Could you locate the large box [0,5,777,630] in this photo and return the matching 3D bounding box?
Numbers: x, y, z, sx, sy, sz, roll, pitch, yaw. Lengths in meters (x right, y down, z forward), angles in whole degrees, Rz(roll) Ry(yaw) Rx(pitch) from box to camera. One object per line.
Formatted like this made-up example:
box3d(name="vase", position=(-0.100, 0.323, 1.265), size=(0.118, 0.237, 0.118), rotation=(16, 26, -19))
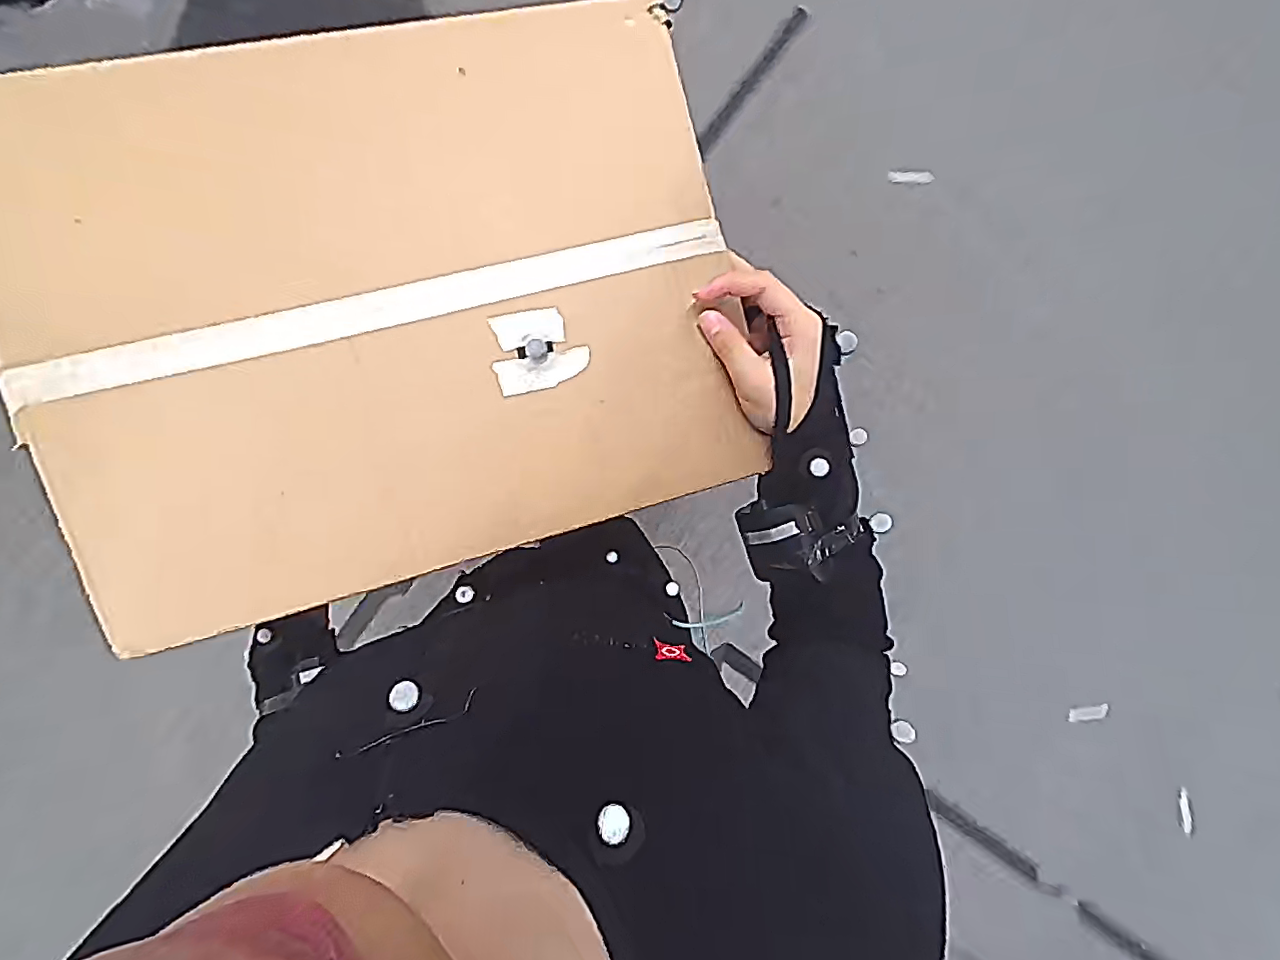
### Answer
box3d(name="large box", position=(-0.158, -0.115, 0.474), size=(0.408, 0.320, 0.320), rotation=(-15, 96, -11))
